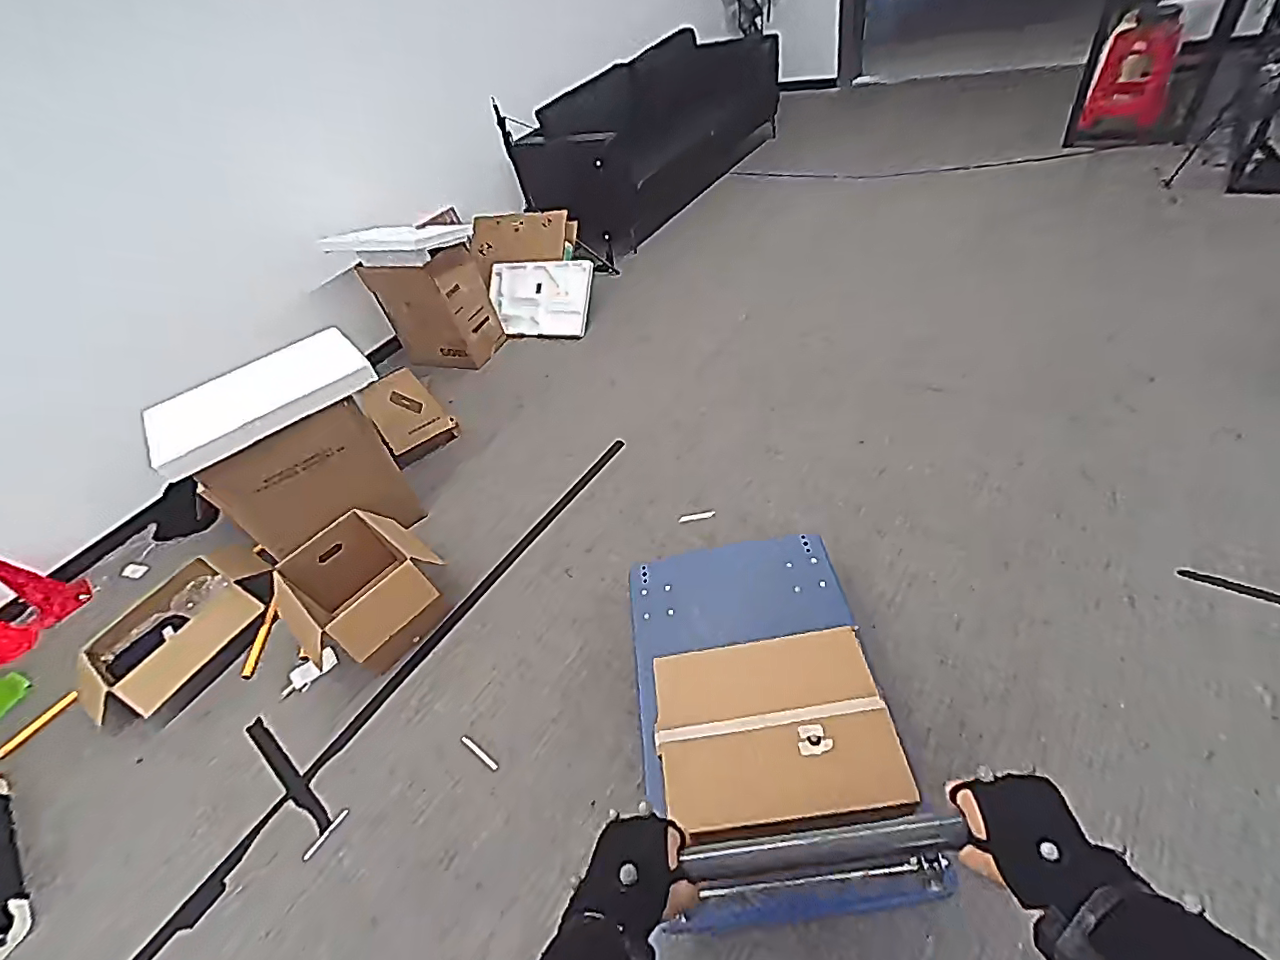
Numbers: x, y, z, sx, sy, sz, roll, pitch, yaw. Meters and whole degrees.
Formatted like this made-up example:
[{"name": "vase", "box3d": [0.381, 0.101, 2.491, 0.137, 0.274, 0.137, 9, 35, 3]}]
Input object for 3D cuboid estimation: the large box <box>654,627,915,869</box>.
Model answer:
[{"name": "large box", "box3d": [0.261, 0.540, 1.082, 0.408, 0.320, 0.320, -11, 45, 4]}]
